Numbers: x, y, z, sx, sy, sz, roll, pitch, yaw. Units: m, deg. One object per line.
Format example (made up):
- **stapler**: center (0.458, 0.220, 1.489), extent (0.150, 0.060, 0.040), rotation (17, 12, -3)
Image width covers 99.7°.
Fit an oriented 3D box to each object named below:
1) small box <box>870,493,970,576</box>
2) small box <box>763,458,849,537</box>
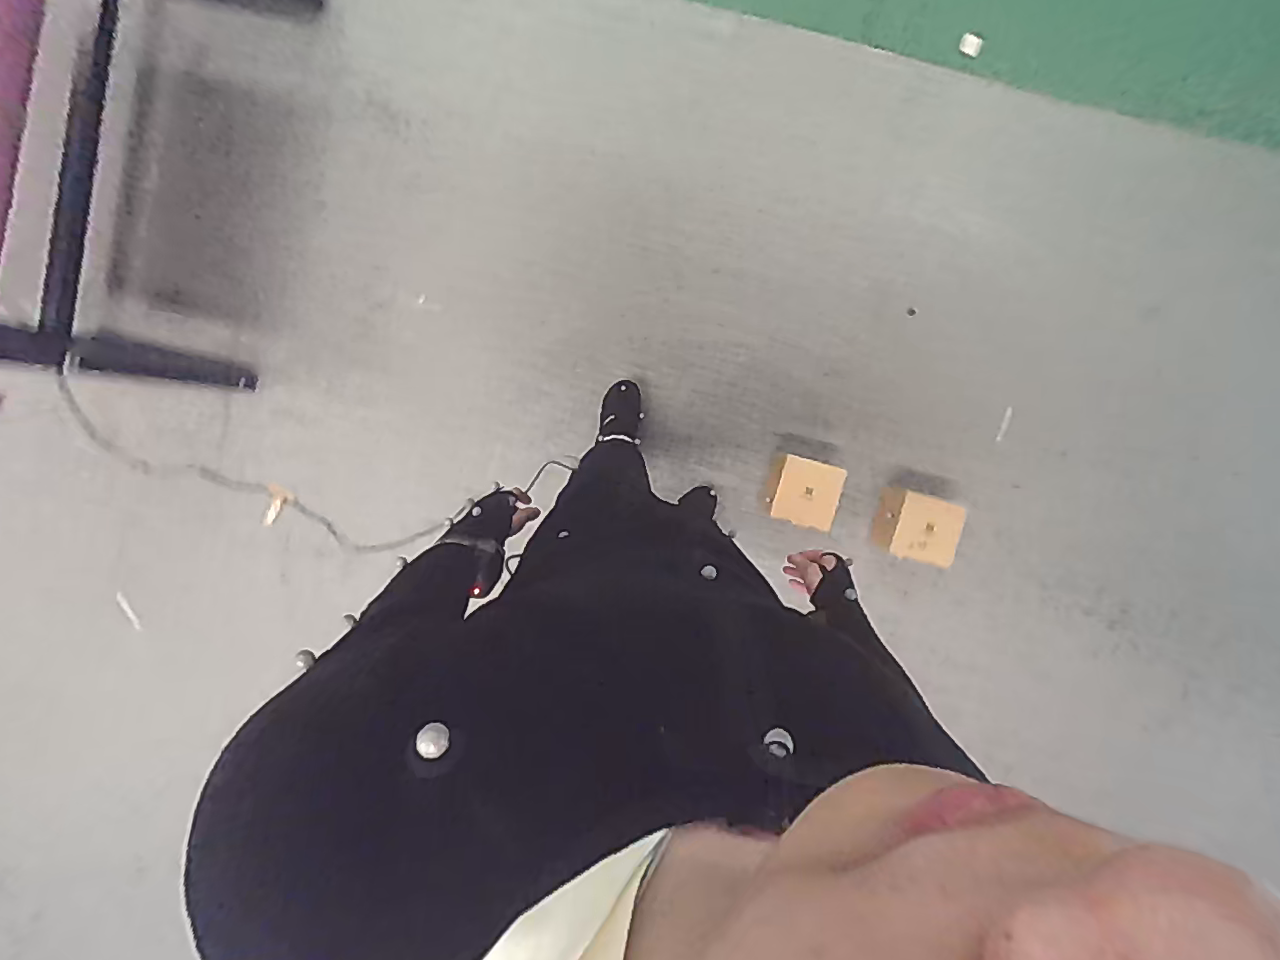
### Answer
- **small box**: center (0.761, 0.141, 1.489), extent (0.168, 0.176, 0.179), rotation (16, 95, 3)
- **small box**: center (0.452, 0.041, 1.505), extent (0.168, 0.176, 0.179), rotation (16, 96, 2)
